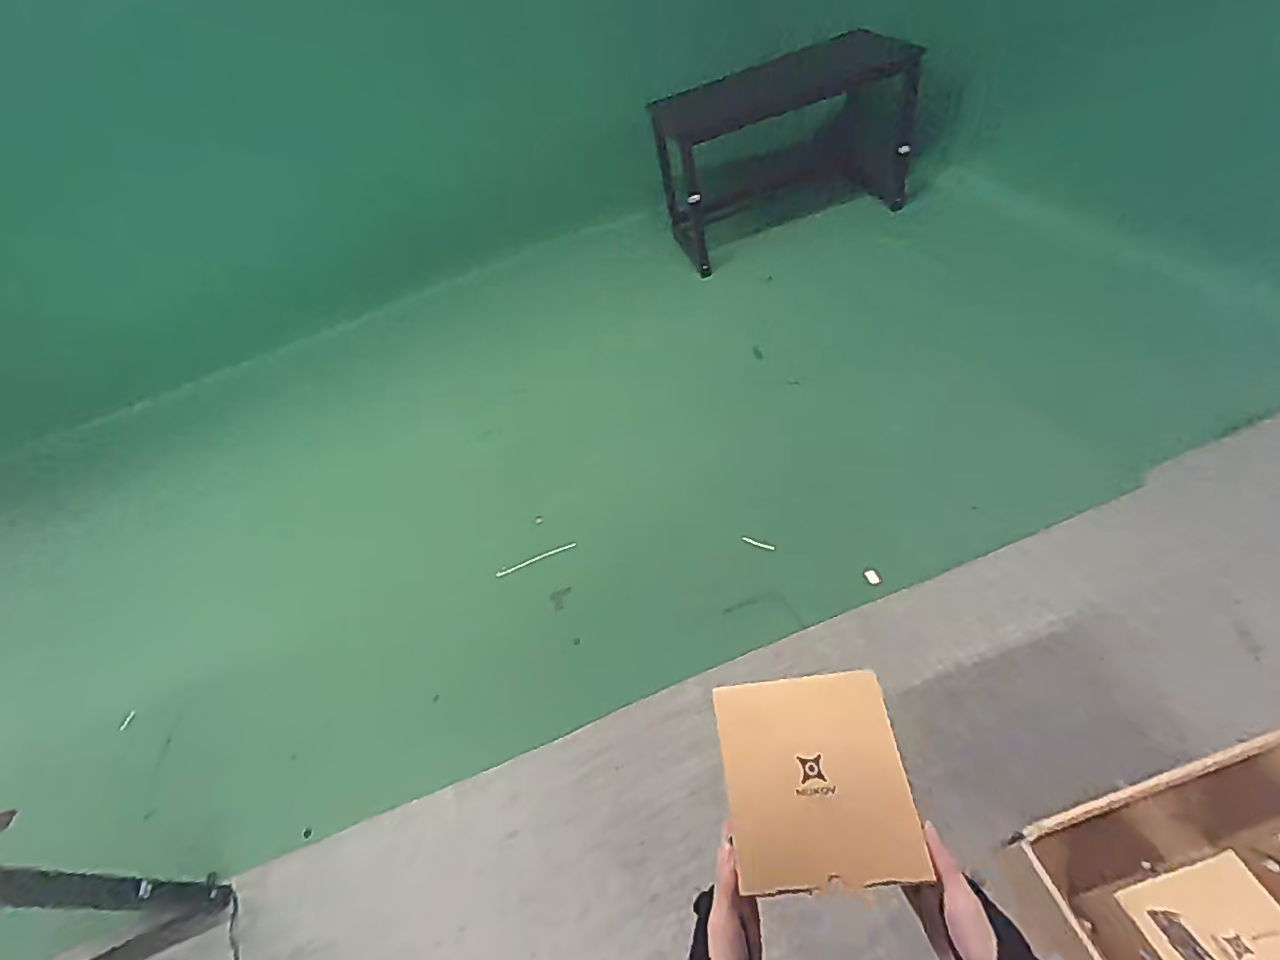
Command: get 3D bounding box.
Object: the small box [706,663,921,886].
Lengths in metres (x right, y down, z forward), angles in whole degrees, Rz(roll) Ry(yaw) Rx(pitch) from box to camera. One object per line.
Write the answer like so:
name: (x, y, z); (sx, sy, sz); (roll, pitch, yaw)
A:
small box: (0.164, 0.309, 0.575); (0.168, 0.176, 0.179); (-9, 59, 5)

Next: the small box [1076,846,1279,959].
small box: (0.757, 0.638, 0.750); (0.179, 0.176, 0.168); (-18, 49, -1)
